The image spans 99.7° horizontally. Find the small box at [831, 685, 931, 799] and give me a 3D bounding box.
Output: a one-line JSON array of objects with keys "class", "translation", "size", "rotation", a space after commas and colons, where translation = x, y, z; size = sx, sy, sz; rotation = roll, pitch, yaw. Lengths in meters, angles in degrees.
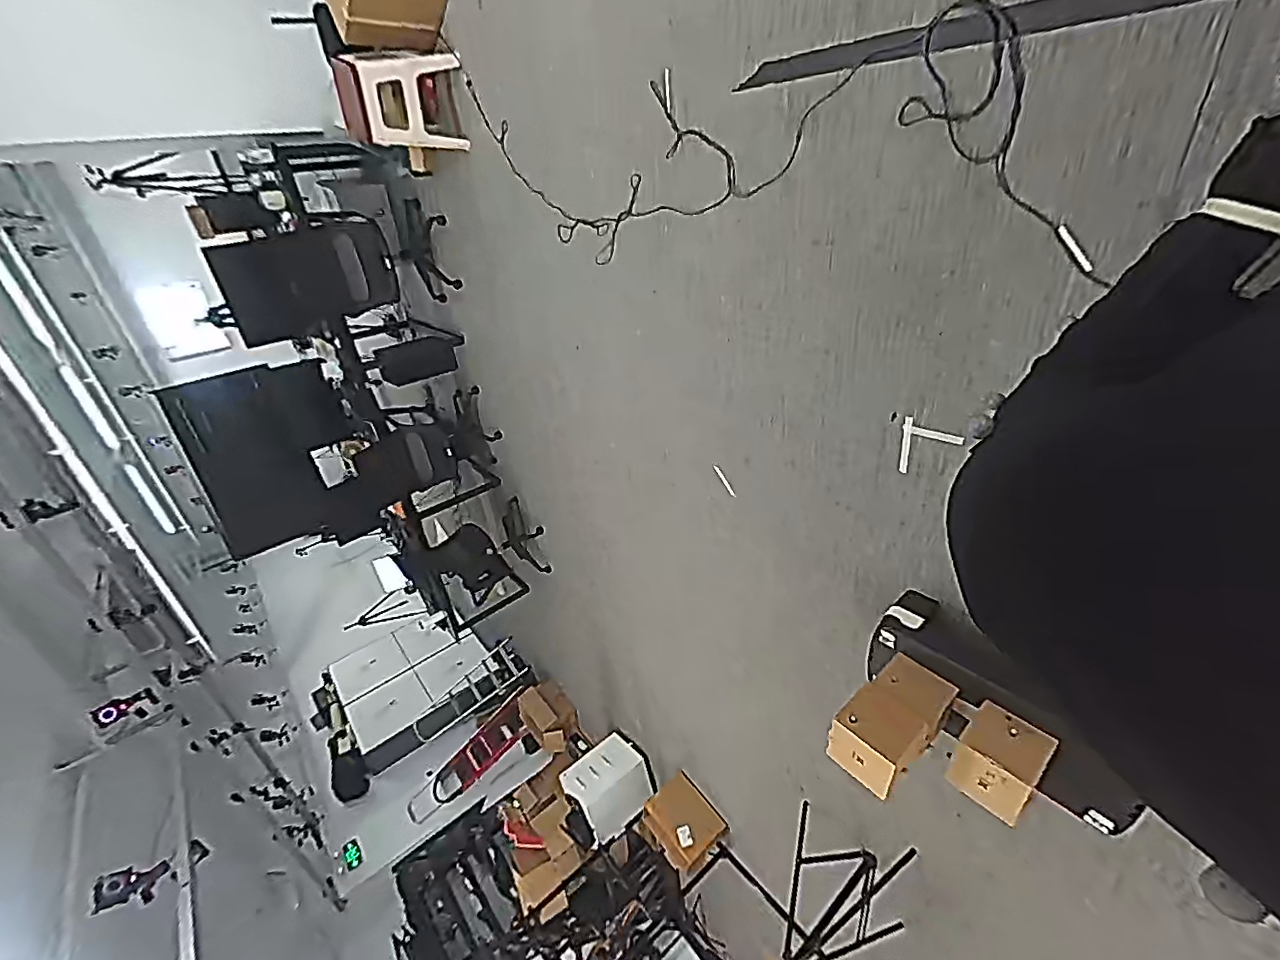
[{"class": "small box", "translation": [0.634, 0.681, 1.426], "size": [0.179, 0.176, 0.168], "rotation": [31, 137, 43]}]

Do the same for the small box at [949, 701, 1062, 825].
[{"class": "small box", "translation": [0.909, 0.699, 1.347], "size": [0.168, 0.176, 0.179], "rotation": [29, 135, 43]}]

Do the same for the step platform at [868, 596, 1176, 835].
[{"class": "step platform", "translation": [0.990, 0.618, 1.502], "size": [0.684, 0.204, 0.286], "rotation": [27, 134, 44]}]
